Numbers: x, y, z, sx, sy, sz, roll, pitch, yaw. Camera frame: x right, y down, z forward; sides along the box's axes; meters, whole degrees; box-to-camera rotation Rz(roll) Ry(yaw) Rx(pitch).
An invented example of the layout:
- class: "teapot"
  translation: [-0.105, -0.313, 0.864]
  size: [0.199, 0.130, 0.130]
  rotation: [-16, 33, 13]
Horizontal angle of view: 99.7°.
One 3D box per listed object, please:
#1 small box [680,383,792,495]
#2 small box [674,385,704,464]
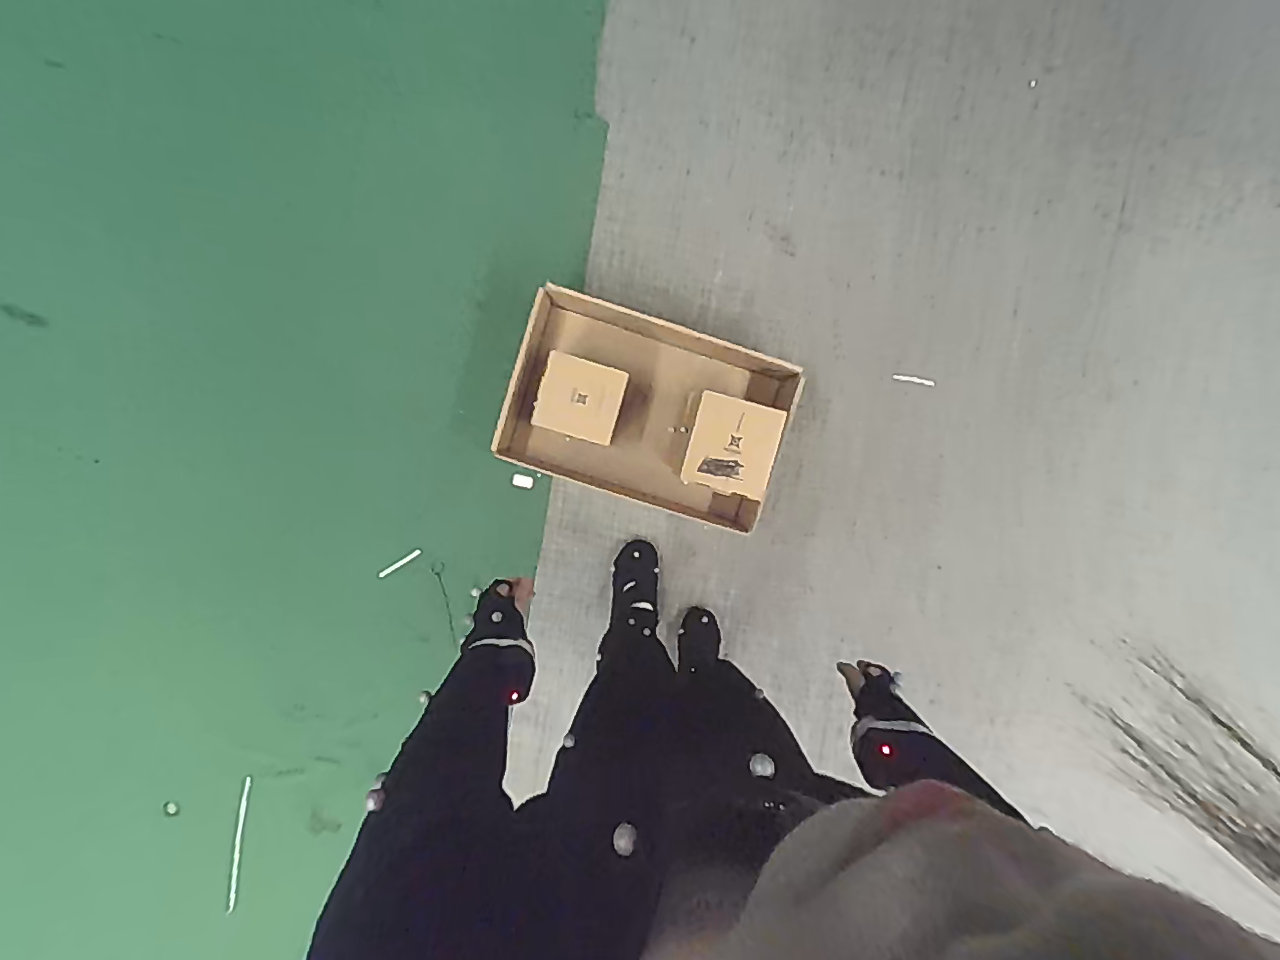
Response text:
- class: "small box"
  translation: [0.181, -0.081, 1.084]
  size: [0.168, 0.176, 0.179]
  rotation: [15, 94, -2]
- class: "small box"
  translation: [0.178, -0.110, 1.246]
  size: [0.168, 0.176, 0.179]
  rotation: [13, 95, -3]
